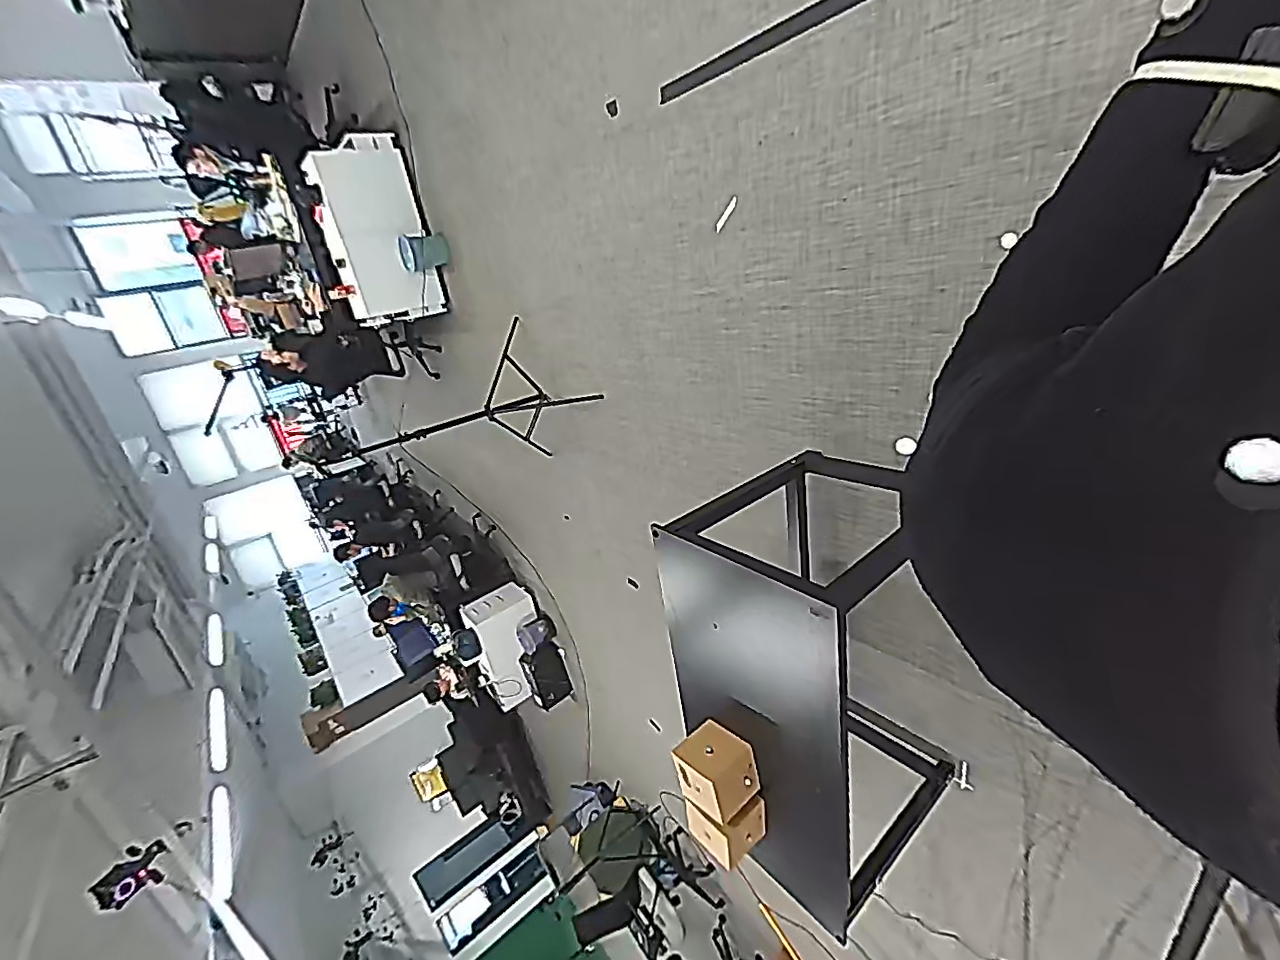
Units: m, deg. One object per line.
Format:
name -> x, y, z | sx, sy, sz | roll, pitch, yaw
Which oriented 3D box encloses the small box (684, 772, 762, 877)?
small box -> 0.258, 1.043, 1.655 | 0.179, 0.176, 0.168 | 23, 127, 48
